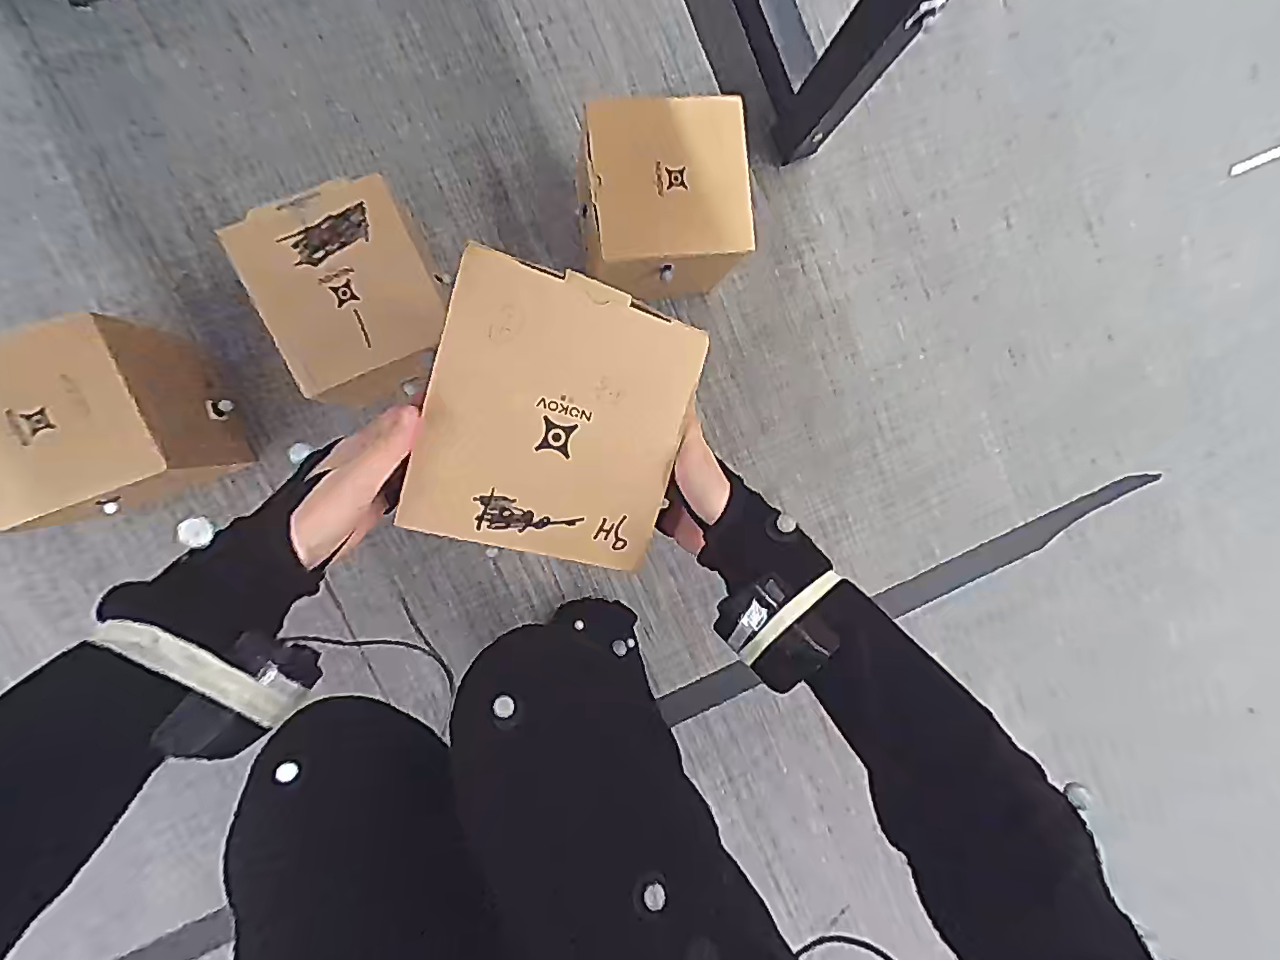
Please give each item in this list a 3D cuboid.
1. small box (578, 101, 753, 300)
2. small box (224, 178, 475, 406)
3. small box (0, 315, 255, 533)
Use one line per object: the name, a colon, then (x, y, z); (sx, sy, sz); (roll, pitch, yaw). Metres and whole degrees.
small box: (0.021, -0.327, 0.660); (0.179, 0.176, 0.168); (-7, 95, -7)
small box: (-0.308, -0.197, 0.617); (0.168, 0.176, 0.179); (-25, 98, -6)
small box: (-0.578, -0.056, 0.587); (0.179, 0.176, 0.168); (-22, 98, -8)
